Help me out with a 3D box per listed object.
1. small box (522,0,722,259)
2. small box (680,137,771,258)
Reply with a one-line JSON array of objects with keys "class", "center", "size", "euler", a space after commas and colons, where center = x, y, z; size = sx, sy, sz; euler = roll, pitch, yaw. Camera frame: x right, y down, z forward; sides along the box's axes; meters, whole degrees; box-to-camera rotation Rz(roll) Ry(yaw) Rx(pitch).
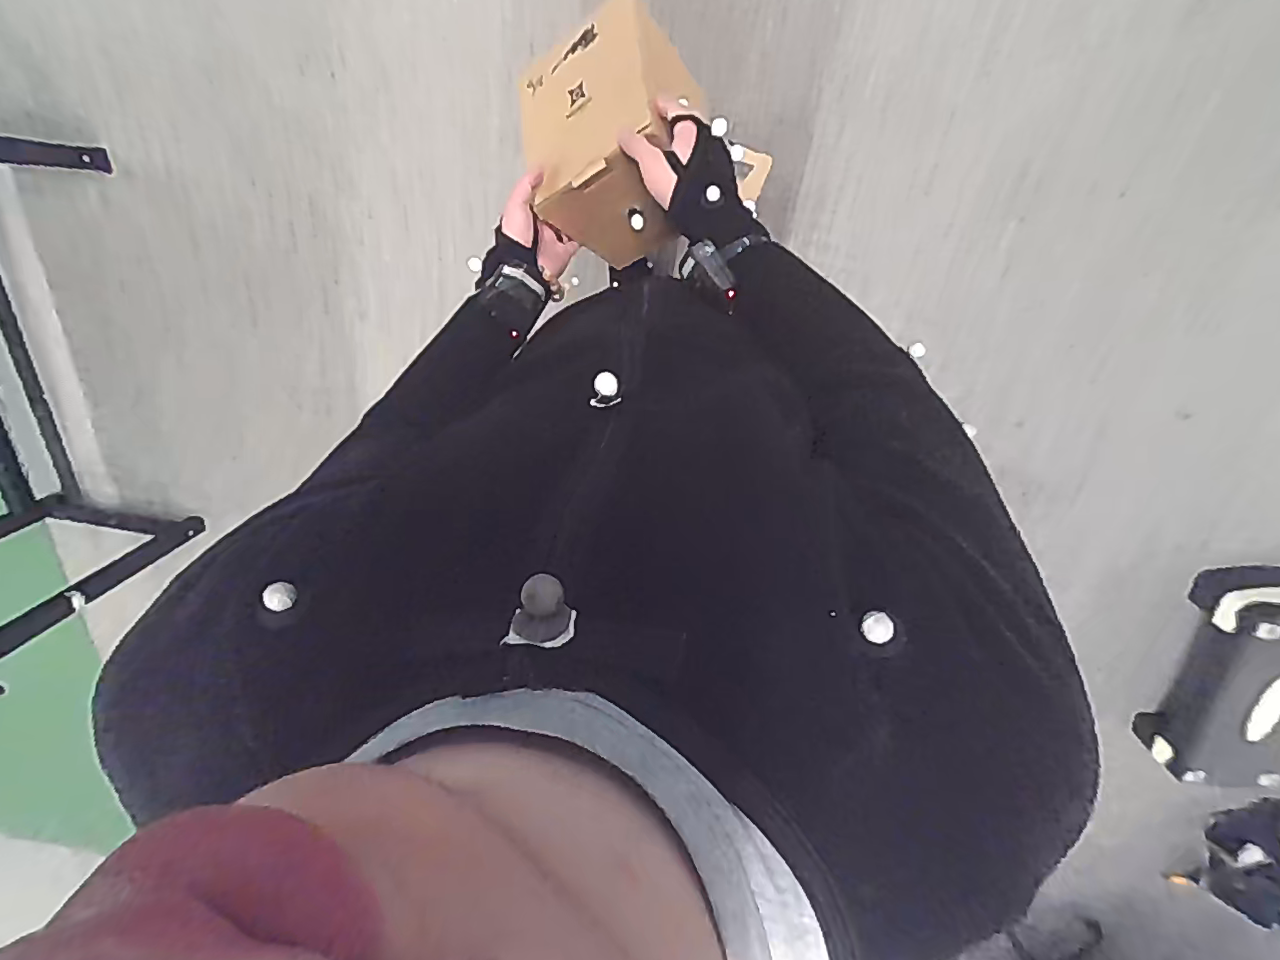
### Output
[{"class": "small box", "center": [-0.016, -0.394, 0.652], "size": [0.168, 0.176, 0.179], "euler": [-15, 78, 32]}, {"class": "small box", "center": [0.146, -0.577, 1.103], "size": [0.168, 0.176, 0.179], "euler": [23, 116, -3]}]
